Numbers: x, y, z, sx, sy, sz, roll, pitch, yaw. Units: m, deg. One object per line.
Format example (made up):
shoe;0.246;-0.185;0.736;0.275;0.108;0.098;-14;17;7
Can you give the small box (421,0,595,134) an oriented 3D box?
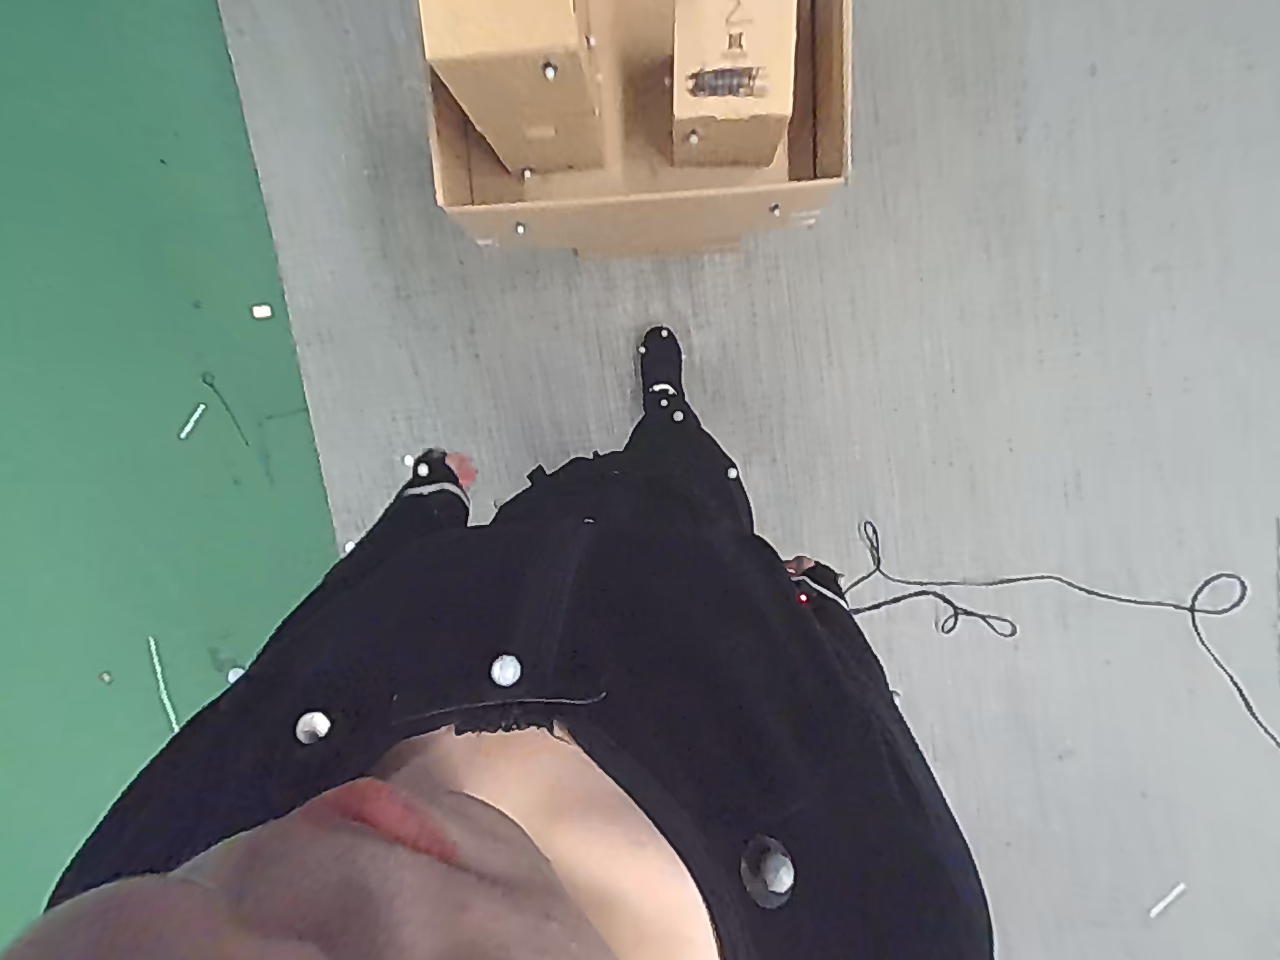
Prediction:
small box;-0.157;-0.562;0.677;0.179;0.176;0.168;-4;98;2
